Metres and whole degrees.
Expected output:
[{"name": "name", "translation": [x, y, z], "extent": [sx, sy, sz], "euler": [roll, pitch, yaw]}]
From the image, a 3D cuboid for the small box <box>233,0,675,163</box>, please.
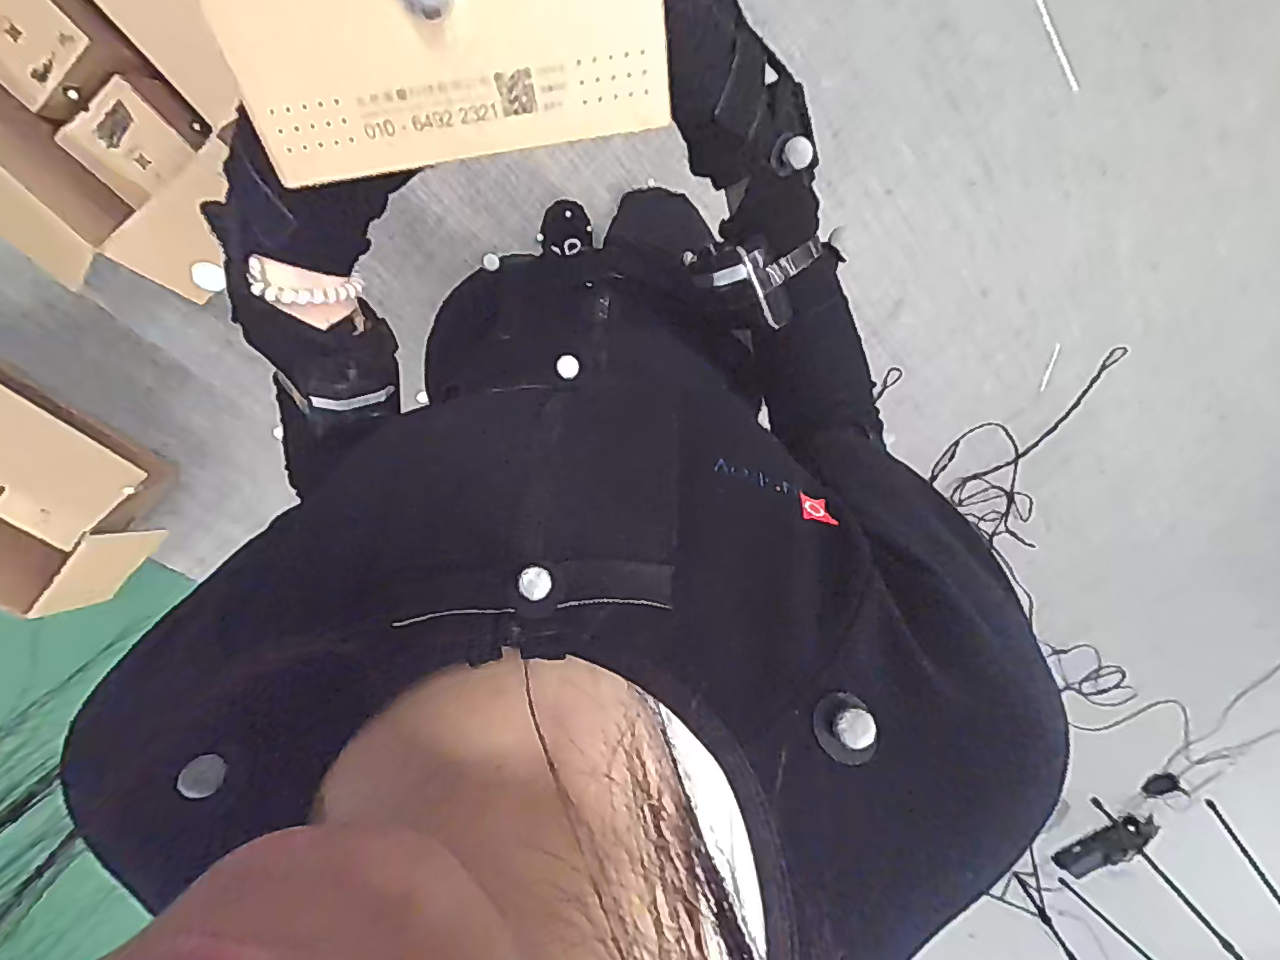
[{"name": "small box", "translation": [-0.083, -0.253, 0.239], "extent": [0.168, 0.179, 0.176], "euler": [-10, 129, -2]}]
